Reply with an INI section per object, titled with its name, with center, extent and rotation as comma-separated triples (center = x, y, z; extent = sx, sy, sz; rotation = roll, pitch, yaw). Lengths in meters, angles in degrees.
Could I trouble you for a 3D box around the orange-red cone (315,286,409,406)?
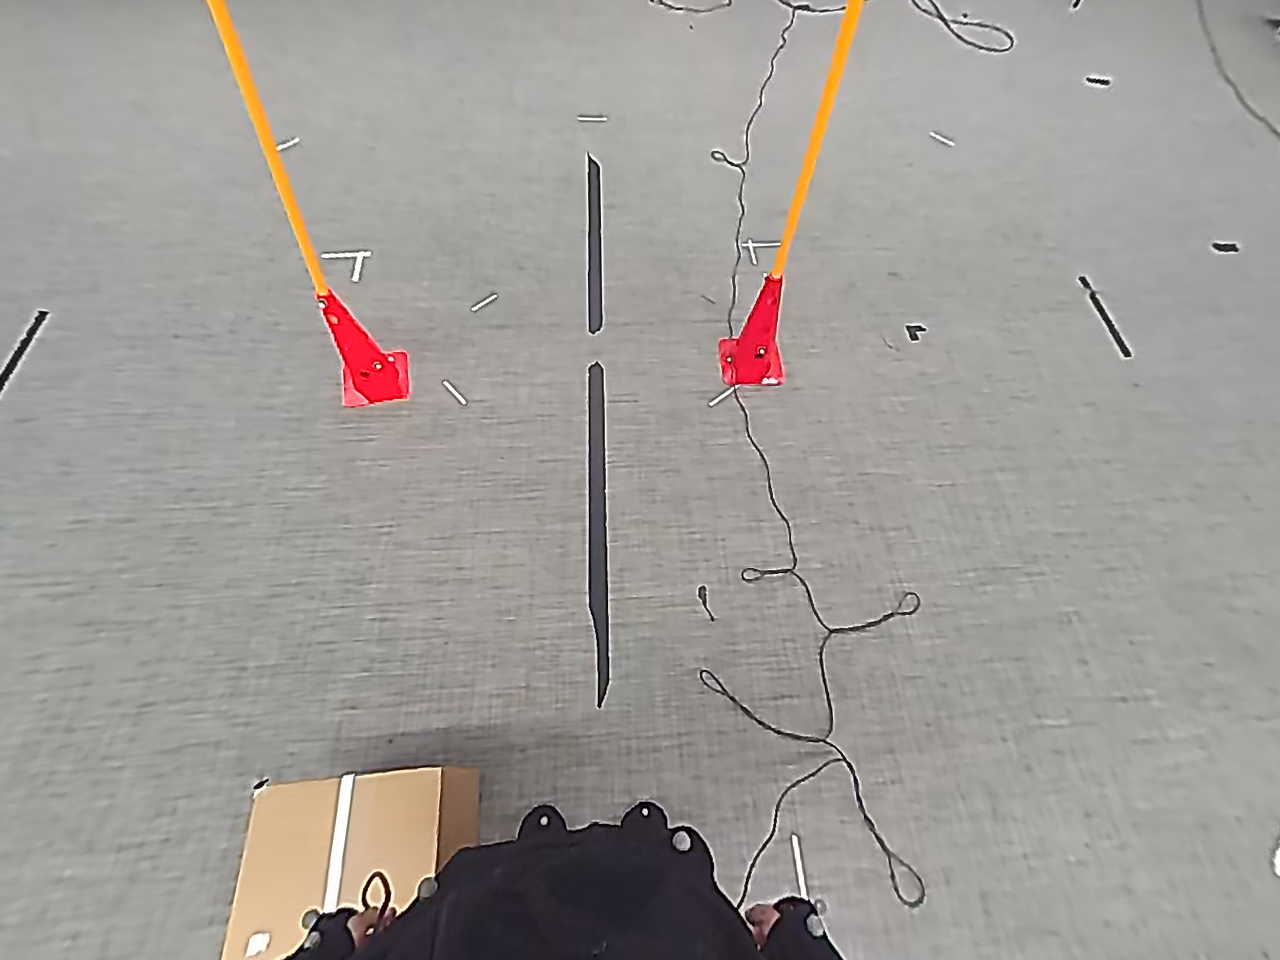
[orange-red cone]
center = -0.833, -0.405, 1.558
extent = 0.199, 0.360, 0.198
rotation = -11, 62, -6
